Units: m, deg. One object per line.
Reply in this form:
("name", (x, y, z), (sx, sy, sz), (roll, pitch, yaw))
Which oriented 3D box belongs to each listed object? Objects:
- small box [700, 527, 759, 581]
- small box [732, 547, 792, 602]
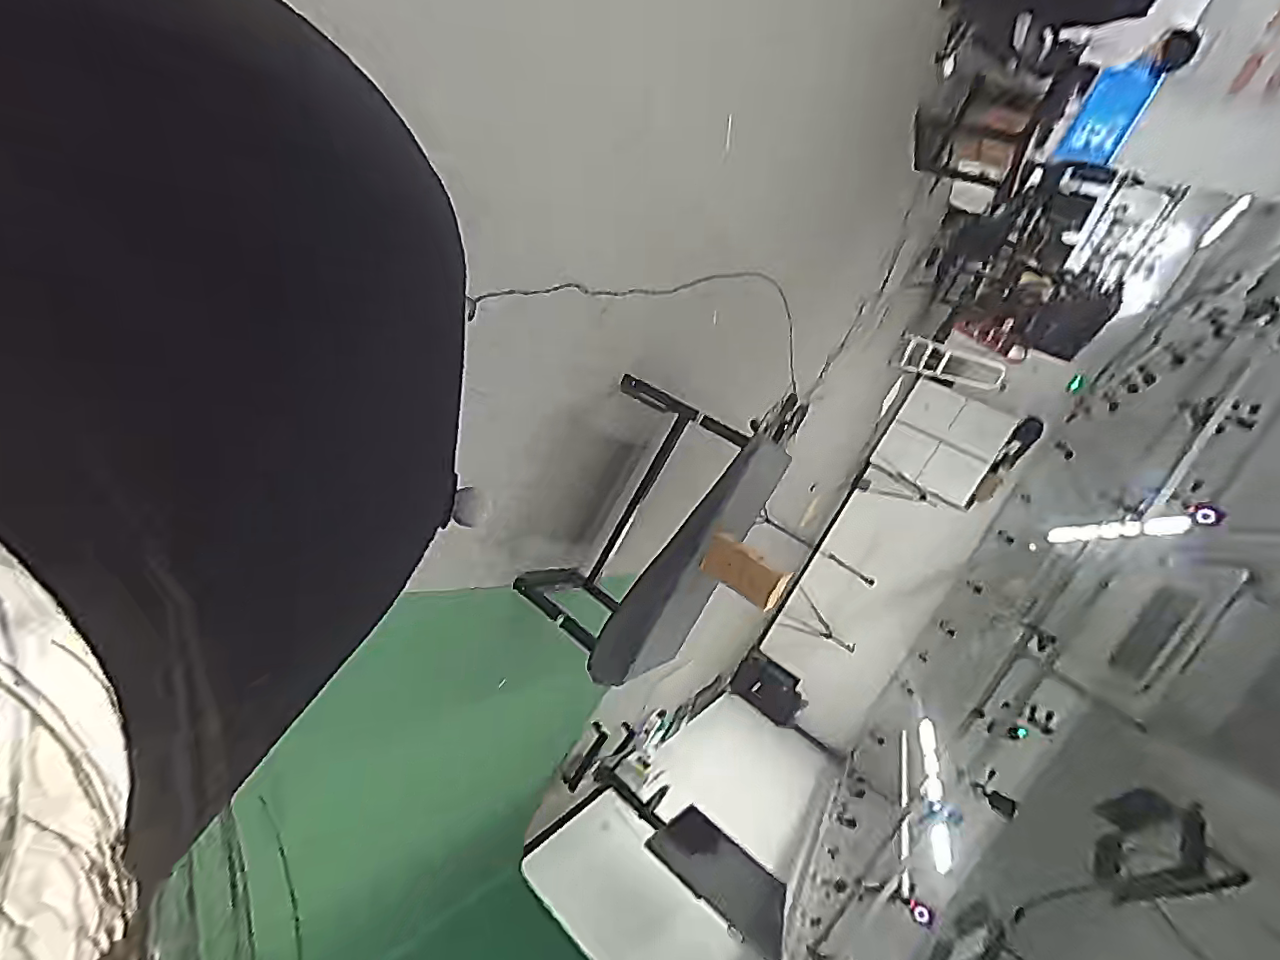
("small box", (0.392, 0.320, 2.376), (0.179, 0.176, 0.168), (-61, 154, 9))
("small box", (0.518, 0.400, 2.311), (0.179, 0.176, 0.168), (8, 111, -61))
